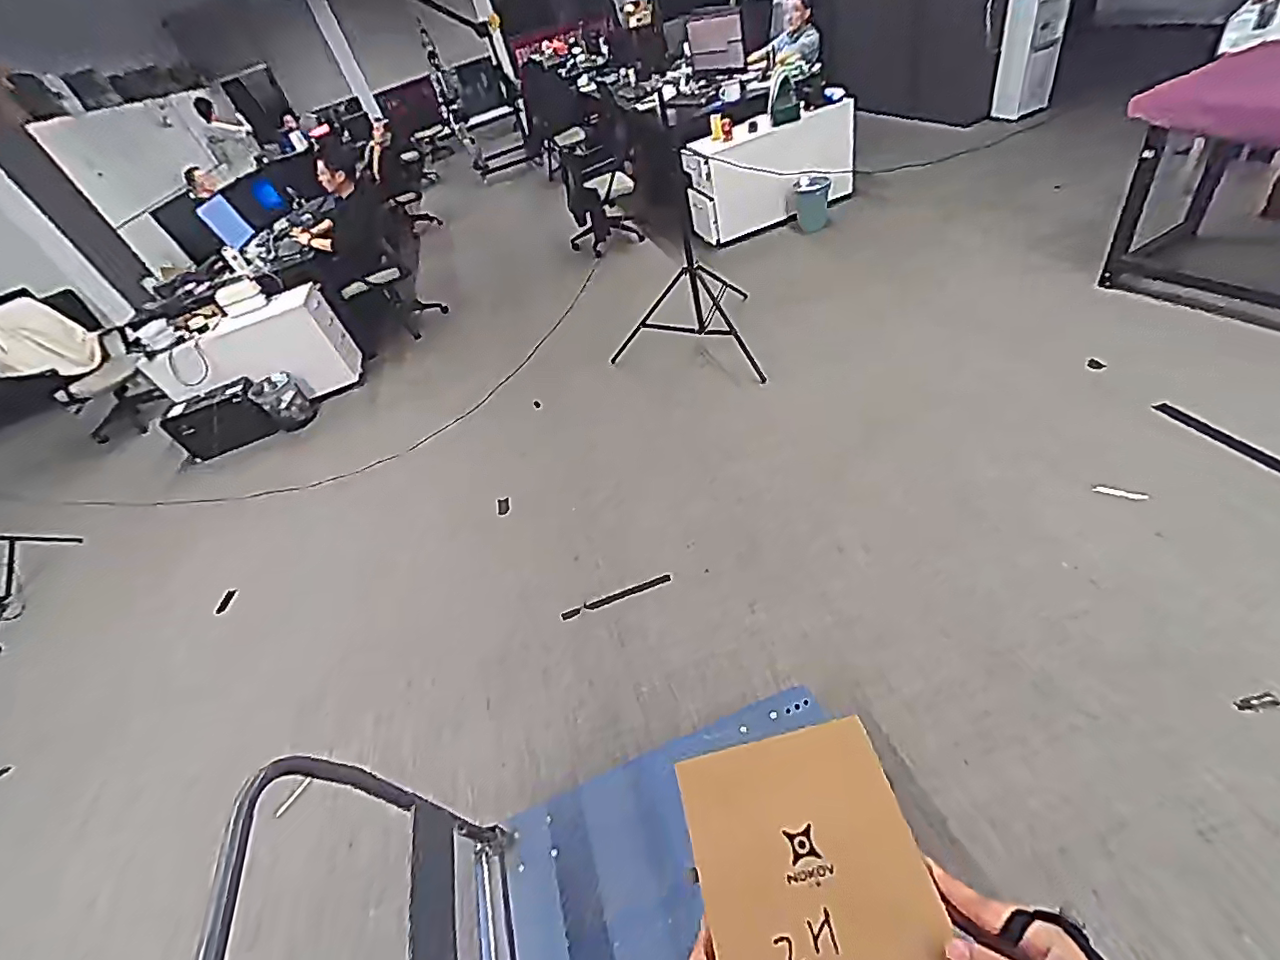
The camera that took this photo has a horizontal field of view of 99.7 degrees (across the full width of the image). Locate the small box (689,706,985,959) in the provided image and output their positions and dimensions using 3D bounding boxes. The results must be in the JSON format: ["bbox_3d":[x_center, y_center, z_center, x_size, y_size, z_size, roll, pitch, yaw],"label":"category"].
[{"bbox_3d":[0.148,0.326,0.466,0.168,0.176,0.179,-16,48,2],"label":"small box"}]
